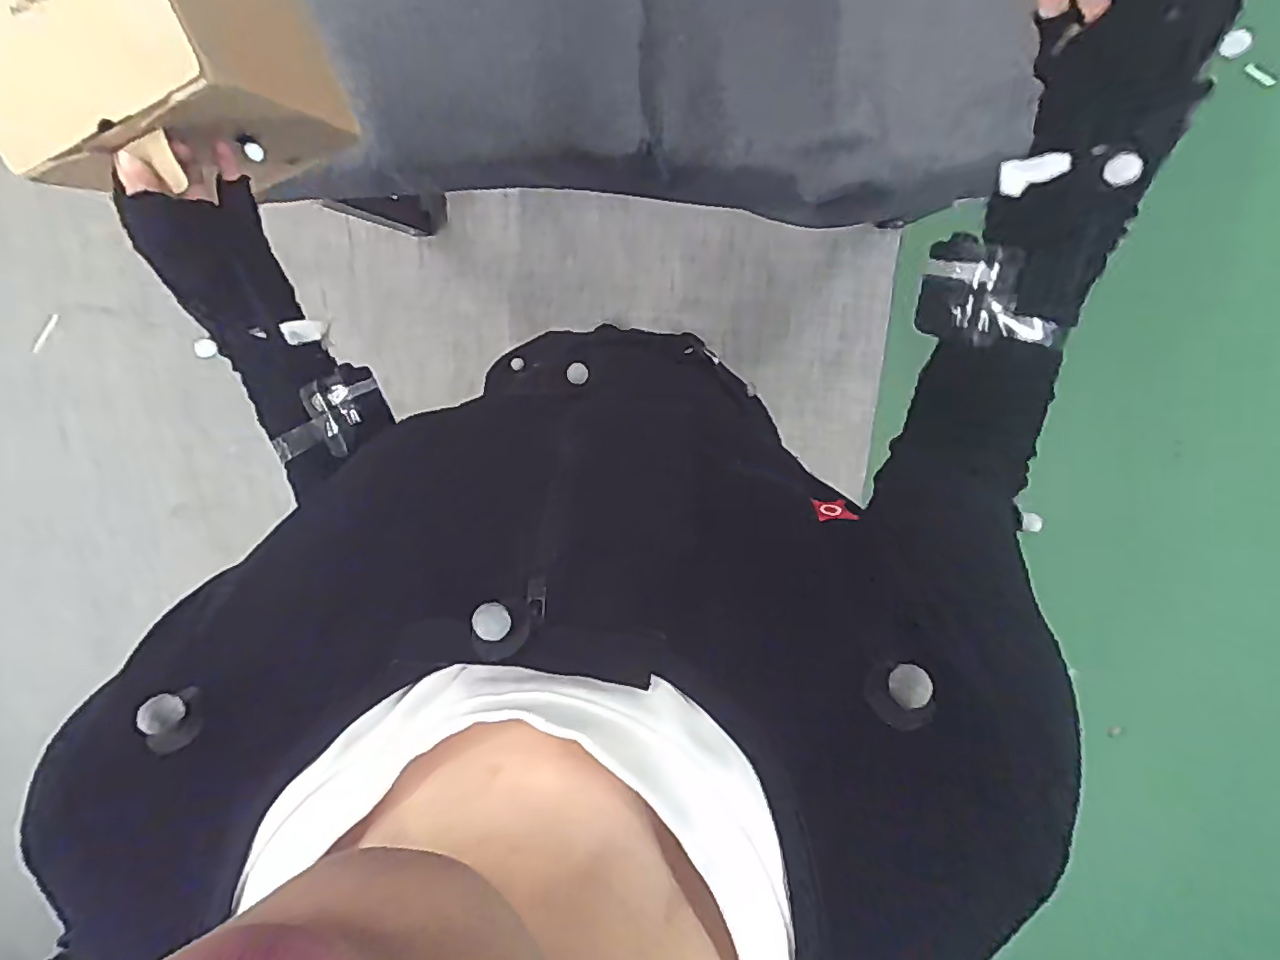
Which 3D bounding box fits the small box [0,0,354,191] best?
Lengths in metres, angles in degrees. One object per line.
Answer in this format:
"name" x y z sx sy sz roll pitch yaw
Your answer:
"small box" -0.348 -0.325 0.382 0.168 0.176 0.179 -16 108 12
